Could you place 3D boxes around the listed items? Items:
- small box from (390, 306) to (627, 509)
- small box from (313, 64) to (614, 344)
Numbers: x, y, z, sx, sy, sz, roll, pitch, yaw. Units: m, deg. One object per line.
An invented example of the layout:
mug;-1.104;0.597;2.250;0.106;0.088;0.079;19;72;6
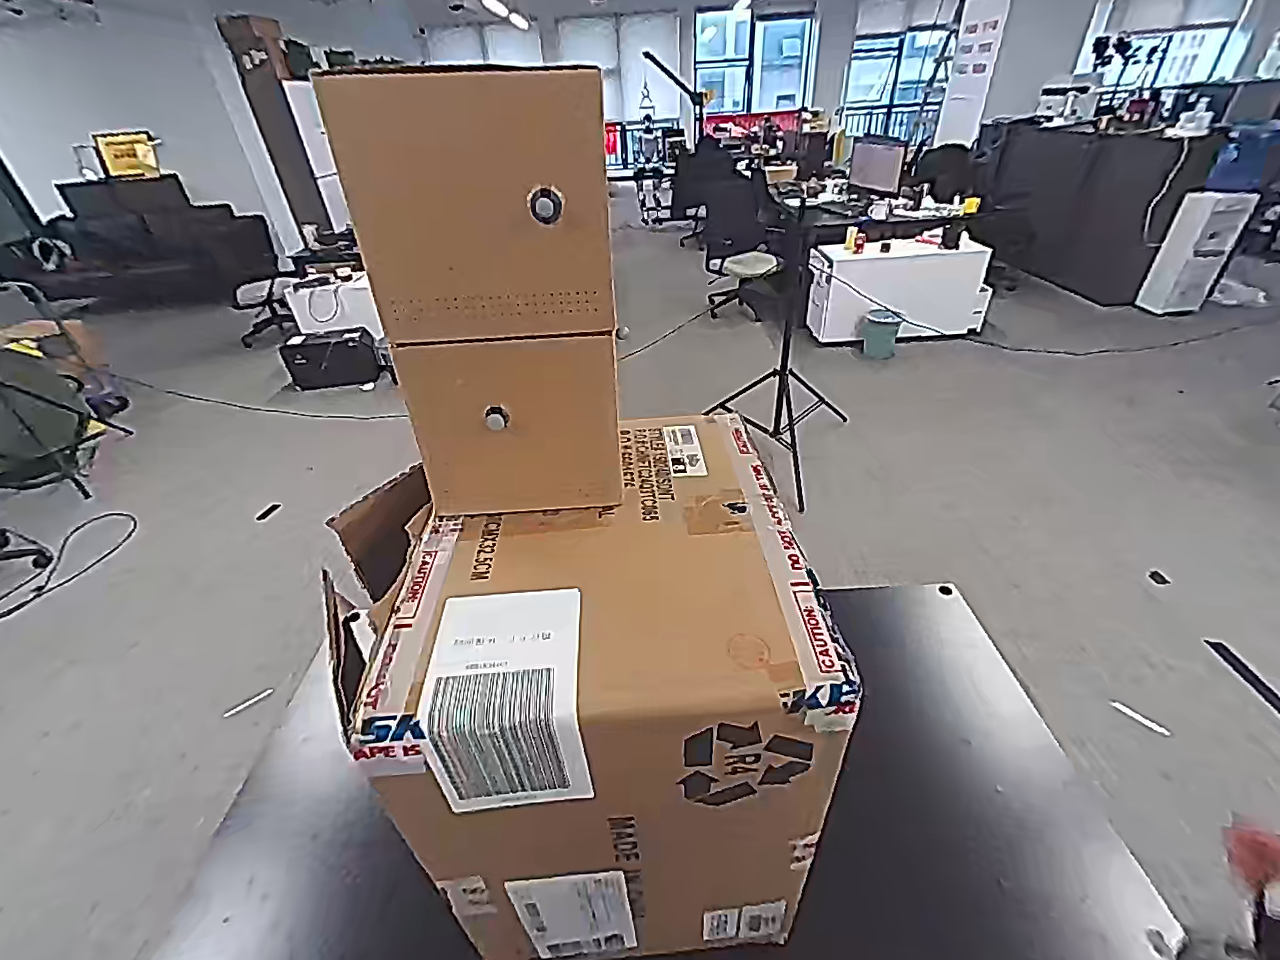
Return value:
small box;-0.109;-0.084;0.527;0.179;0.176;0.168;-4;33;-2
small box;-0.113;-0.218;0.434;0.179;0.176;0.168;-6;32;-4
